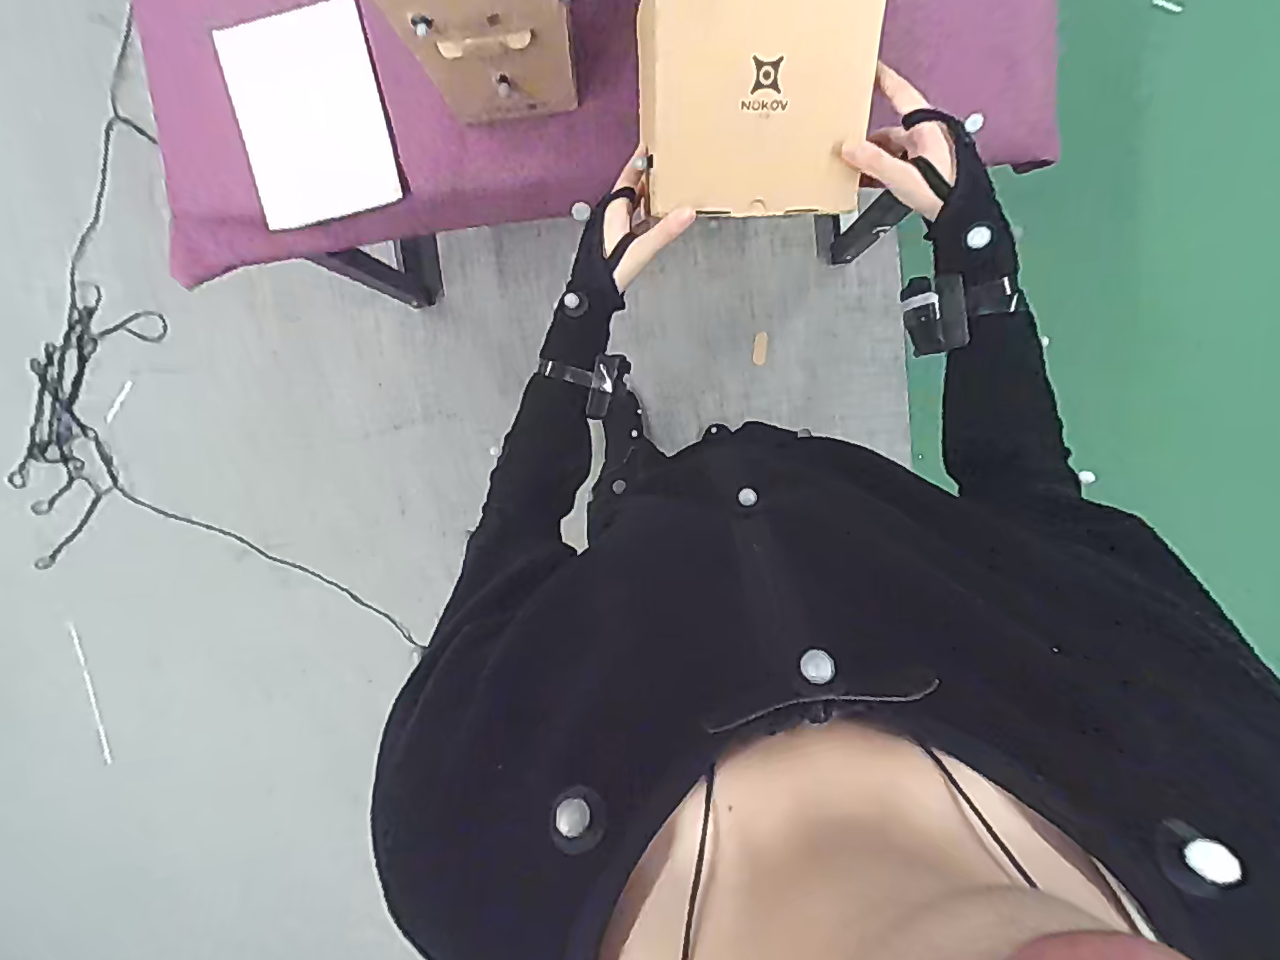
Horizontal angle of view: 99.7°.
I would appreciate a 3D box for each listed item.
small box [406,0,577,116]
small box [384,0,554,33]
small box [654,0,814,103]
[{"bbox_3d":[-0.174,-0.571,0.650,0.168,0.176,0.179,-5,96,2],"label":"small box"},{"bbox_3d":[-0.179,-0.548,0.487,0.168,0.176,0.179,-5,95,3],"label":"small box"},{"bbox_3d":[0.100,-0.591,0.635,0.168,0.176,0.179,-5,95,4],"label":"small box"}]
